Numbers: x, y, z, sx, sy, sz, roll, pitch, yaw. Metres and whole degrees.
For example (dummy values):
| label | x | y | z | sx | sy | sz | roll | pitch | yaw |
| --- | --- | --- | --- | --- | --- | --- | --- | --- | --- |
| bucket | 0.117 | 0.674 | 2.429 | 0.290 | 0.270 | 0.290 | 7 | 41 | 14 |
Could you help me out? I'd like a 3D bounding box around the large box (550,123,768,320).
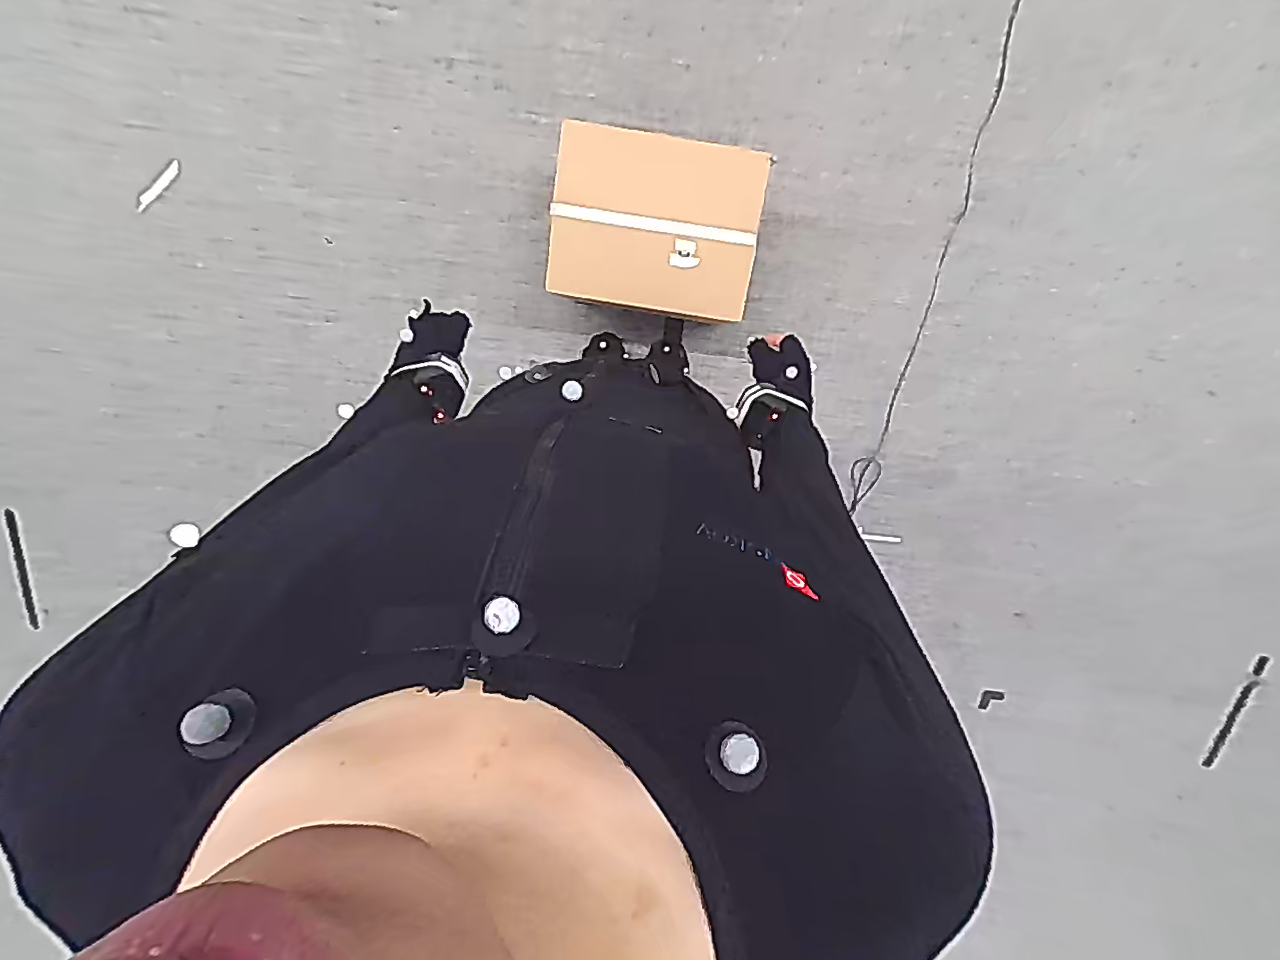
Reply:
| label | x | y | z | sx | sy | sz | roll | pitch | yaw |
| --- | --- | --- | --- | --- | --- | --- | --- | --- | --- |
| large box | 0.029 | -0.544 | 1.209 | 0.408 | 0.320 | 0.320 | 8 | 106 | -2 |
